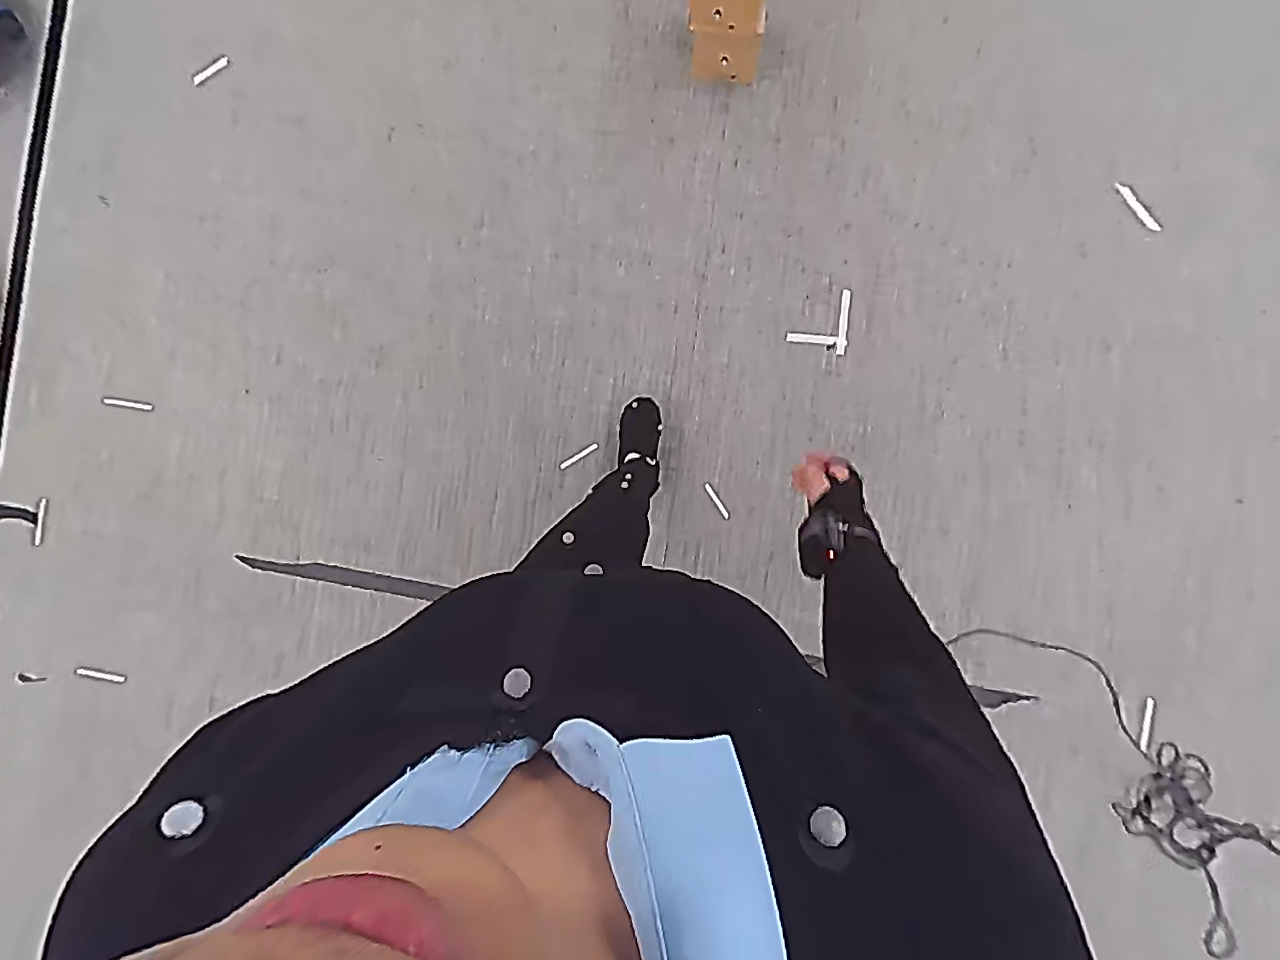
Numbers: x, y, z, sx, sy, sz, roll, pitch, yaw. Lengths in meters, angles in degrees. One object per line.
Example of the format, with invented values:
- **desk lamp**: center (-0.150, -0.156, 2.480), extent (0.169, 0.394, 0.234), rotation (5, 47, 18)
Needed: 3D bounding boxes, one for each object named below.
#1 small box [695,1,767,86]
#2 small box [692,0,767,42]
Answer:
- **small box**: center (0.234, -1.165, 1.399), extent (0.168, 0.176, 0.179), rotation (7, 89, 4)
- **small box**: center (0.215, -1.165, 1.237), extent (0.168, 0.176, 0.179), rotation (13, 91, 5)
